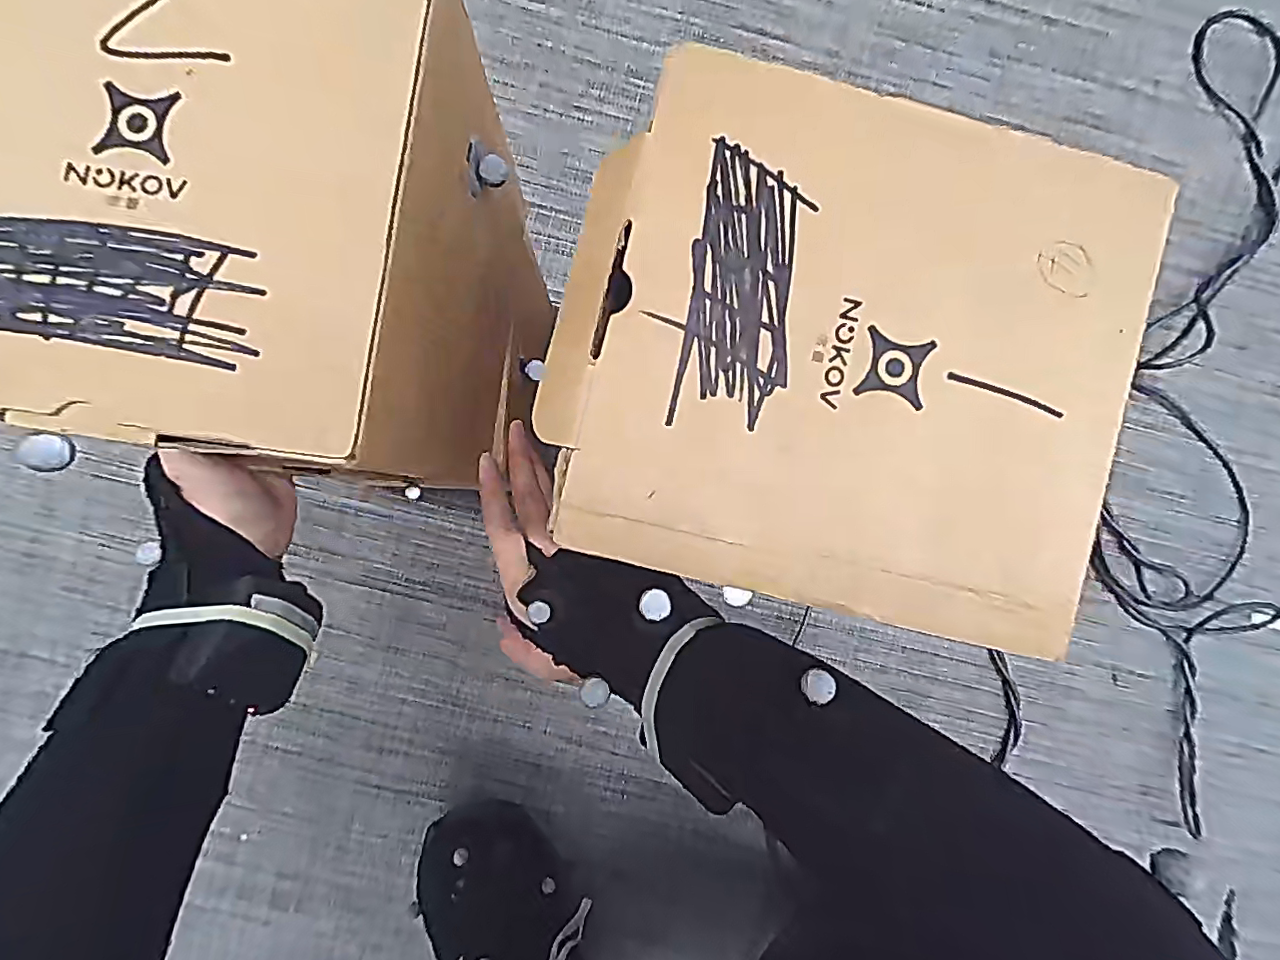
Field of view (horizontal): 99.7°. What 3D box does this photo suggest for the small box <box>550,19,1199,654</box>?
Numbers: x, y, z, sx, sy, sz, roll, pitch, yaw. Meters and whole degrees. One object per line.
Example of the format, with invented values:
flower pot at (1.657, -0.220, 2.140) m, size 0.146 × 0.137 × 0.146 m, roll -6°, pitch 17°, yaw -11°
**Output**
small box at (0.072, -0.043, 0.248) m, size 0.179 × 0.176 × 0.168 m, roll 14°, pitch 90°, yaw -3°
